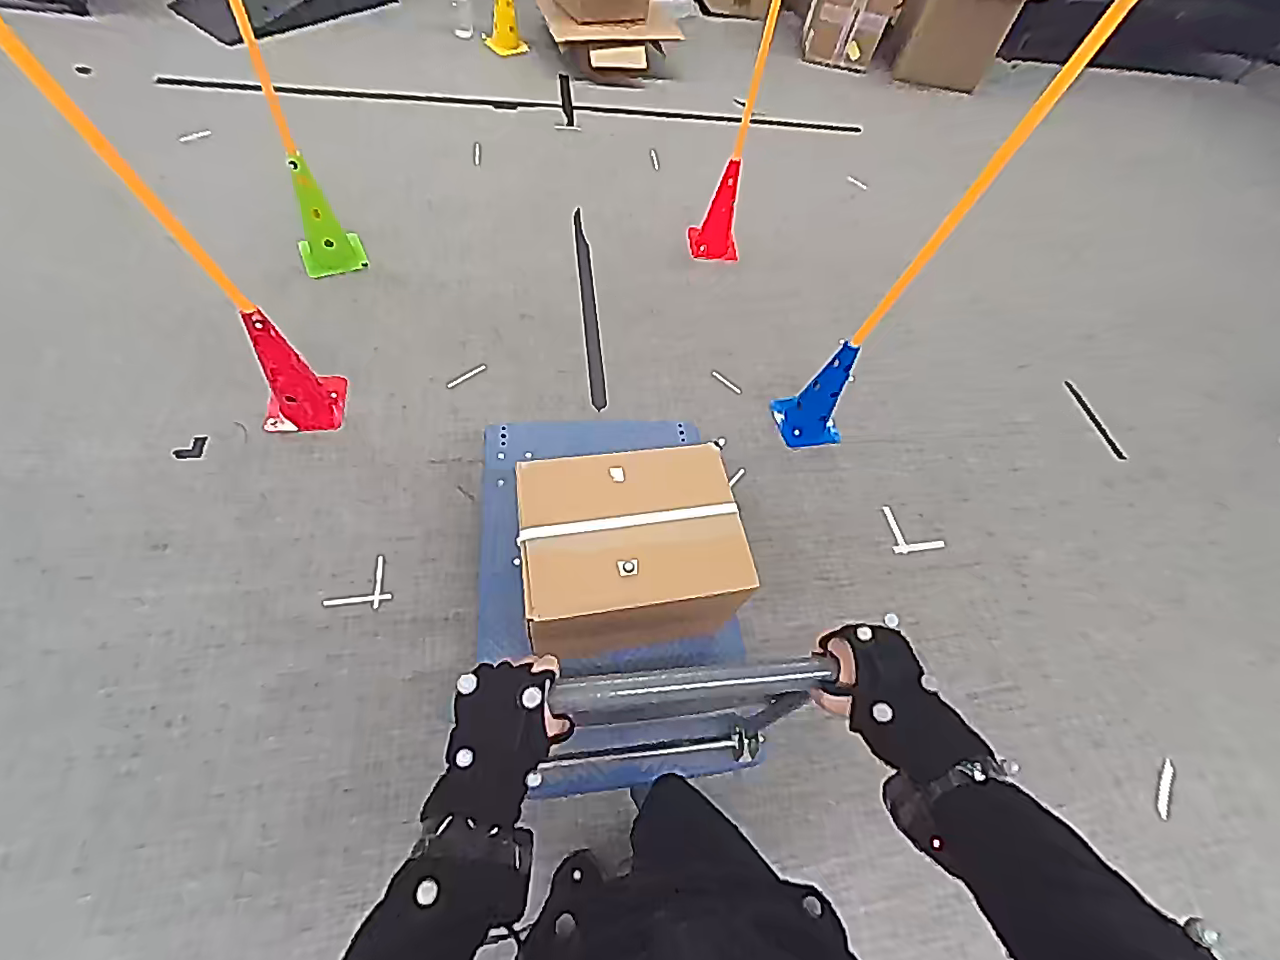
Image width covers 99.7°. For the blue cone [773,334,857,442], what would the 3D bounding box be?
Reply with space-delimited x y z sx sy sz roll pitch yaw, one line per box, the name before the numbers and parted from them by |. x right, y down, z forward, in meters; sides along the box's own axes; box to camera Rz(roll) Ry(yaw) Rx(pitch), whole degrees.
blue cone | 0.576 -0.294 1.674 0.193 0.380 0.192 -6 59 -13

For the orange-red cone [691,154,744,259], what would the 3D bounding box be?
orange-red cone | 0.332 -1.070 2.084 0.199 0.360 0.198 3 60 -8
